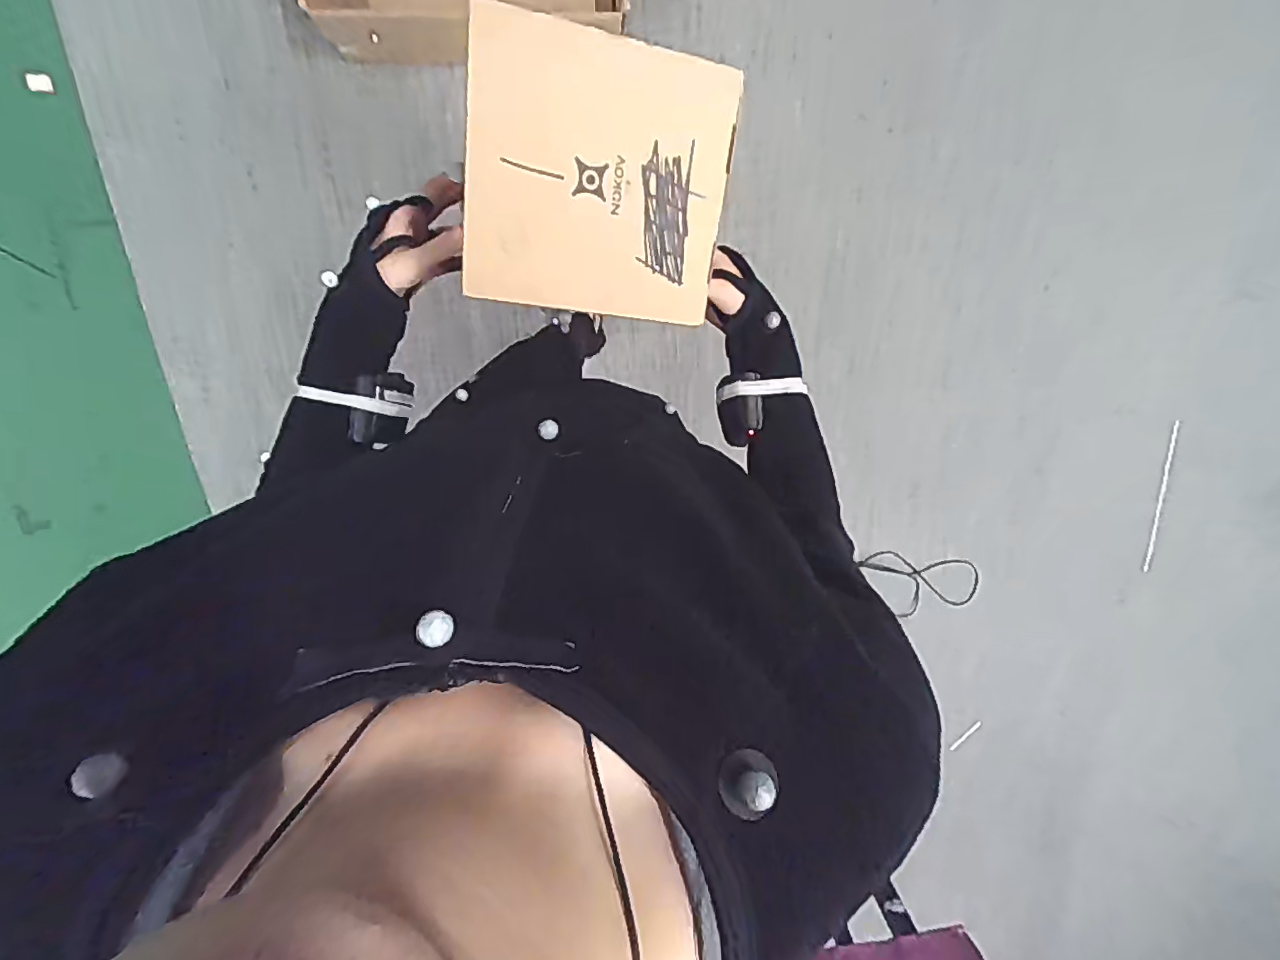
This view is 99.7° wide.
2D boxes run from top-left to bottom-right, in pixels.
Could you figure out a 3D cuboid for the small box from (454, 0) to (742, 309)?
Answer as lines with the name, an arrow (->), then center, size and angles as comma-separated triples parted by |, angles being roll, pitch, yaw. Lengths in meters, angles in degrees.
small box -> -0.047, -0.236, 0.425 | 0.179, 0.176, 0.168 | 3, 109, -16
